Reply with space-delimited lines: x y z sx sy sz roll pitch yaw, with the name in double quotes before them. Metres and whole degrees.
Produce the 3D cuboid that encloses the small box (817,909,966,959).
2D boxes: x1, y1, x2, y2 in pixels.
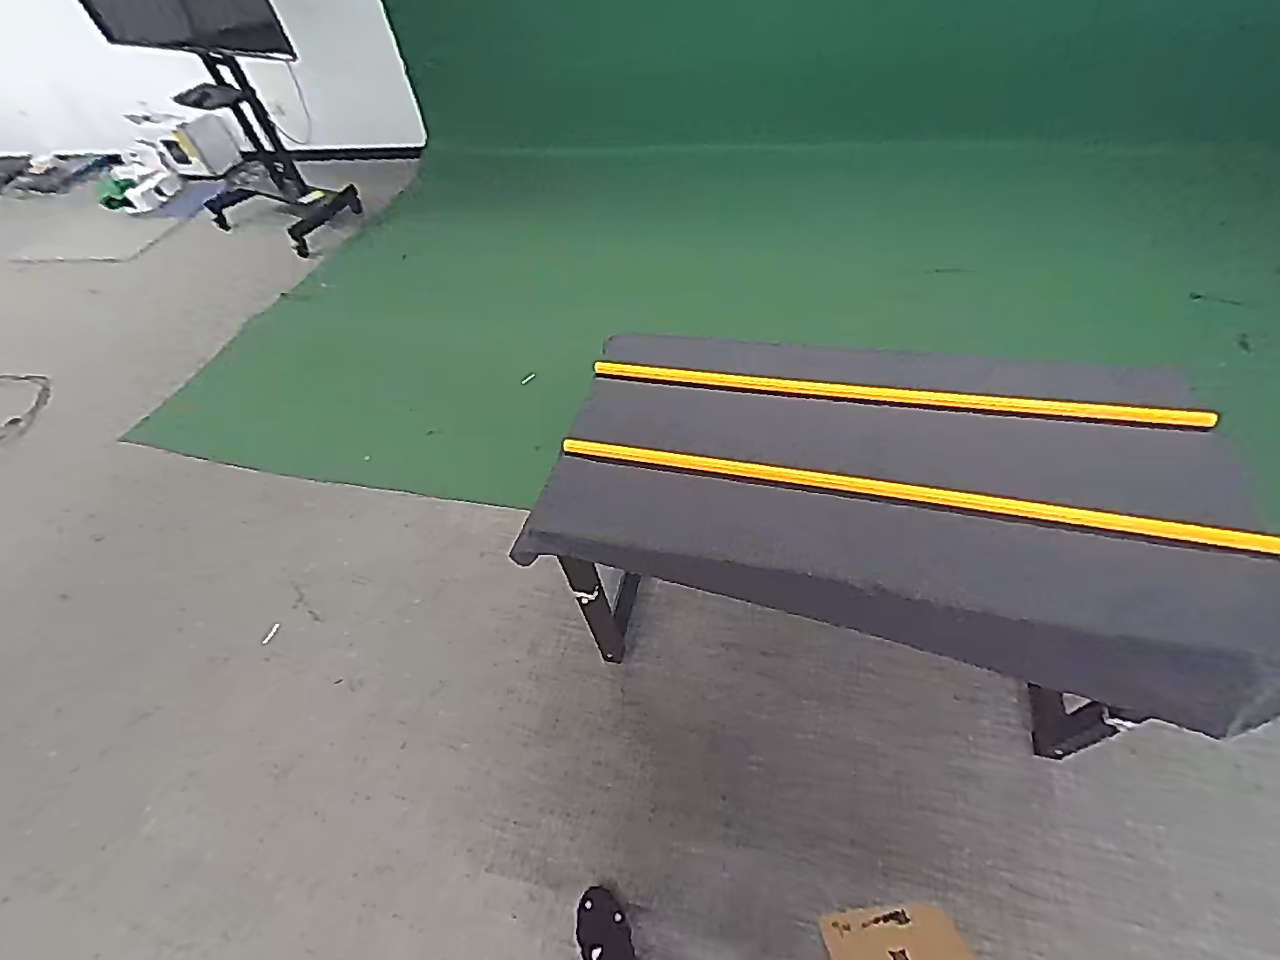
"small box" 0.337 0.682 0.651 0.168 0.179 0.176 -12 89 0
